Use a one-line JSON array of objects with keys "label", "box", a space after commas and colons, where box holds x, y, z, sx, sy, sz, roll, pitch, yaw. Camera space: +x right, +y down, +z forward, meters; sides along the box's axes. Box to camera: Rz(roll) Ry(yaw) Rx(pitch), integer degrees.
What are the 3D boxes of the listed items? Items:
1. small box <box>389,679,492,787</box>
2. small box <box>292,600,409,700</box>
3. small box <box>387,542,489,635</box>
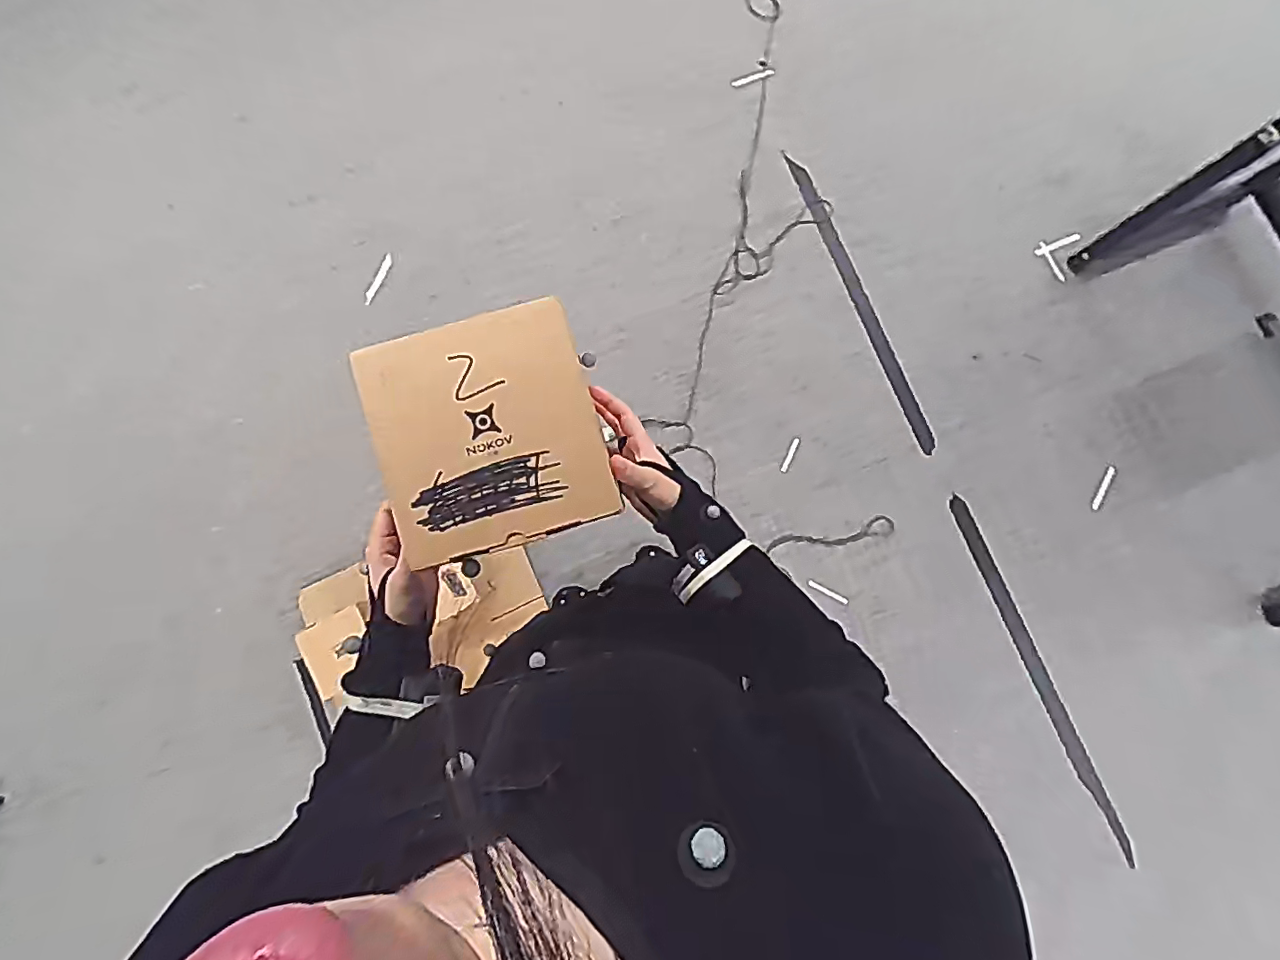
[{"label": "small box", "box": [-0.485, 0.610, 1.338, 0.168, 0.176, 0.179, -21, 84, -4]}, {"label": "small box", "box": [-0.718, 0.416, 1.361, 0.168, 0.176, 0.179, -30, 85, -4]}, {"label": "small box", "box": [-0.503, 0.270, 1.384, 0.179, 0.176, 0.168, -28, 84, -5]}]
